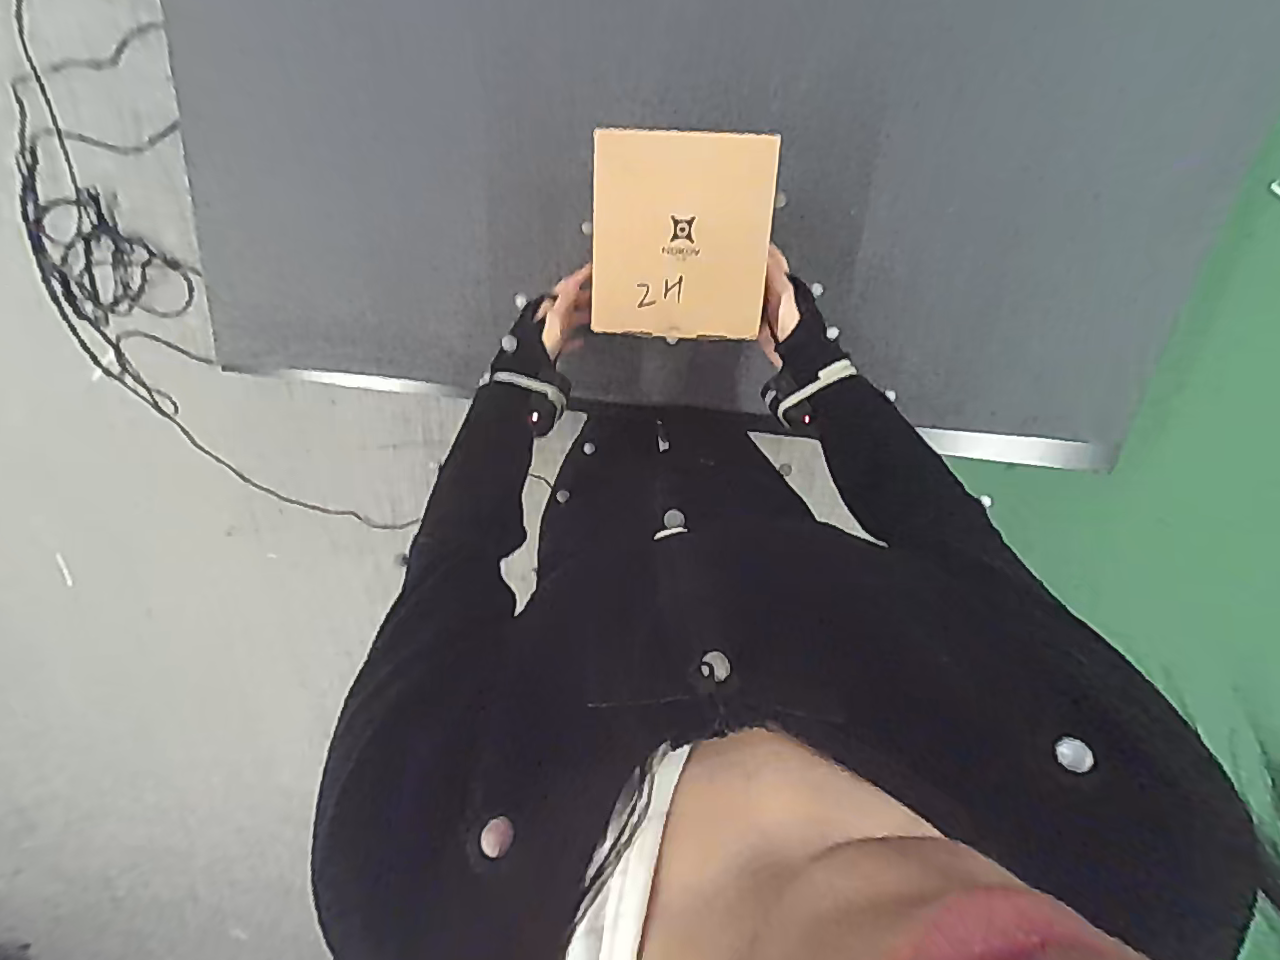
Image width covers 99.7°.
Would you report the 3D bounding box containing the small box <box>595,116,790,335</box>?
[{"bbox_3d":[0.046,-0.248,0.564,0.168,0.176,0.179,4,108,2],"label":"small box"}]
